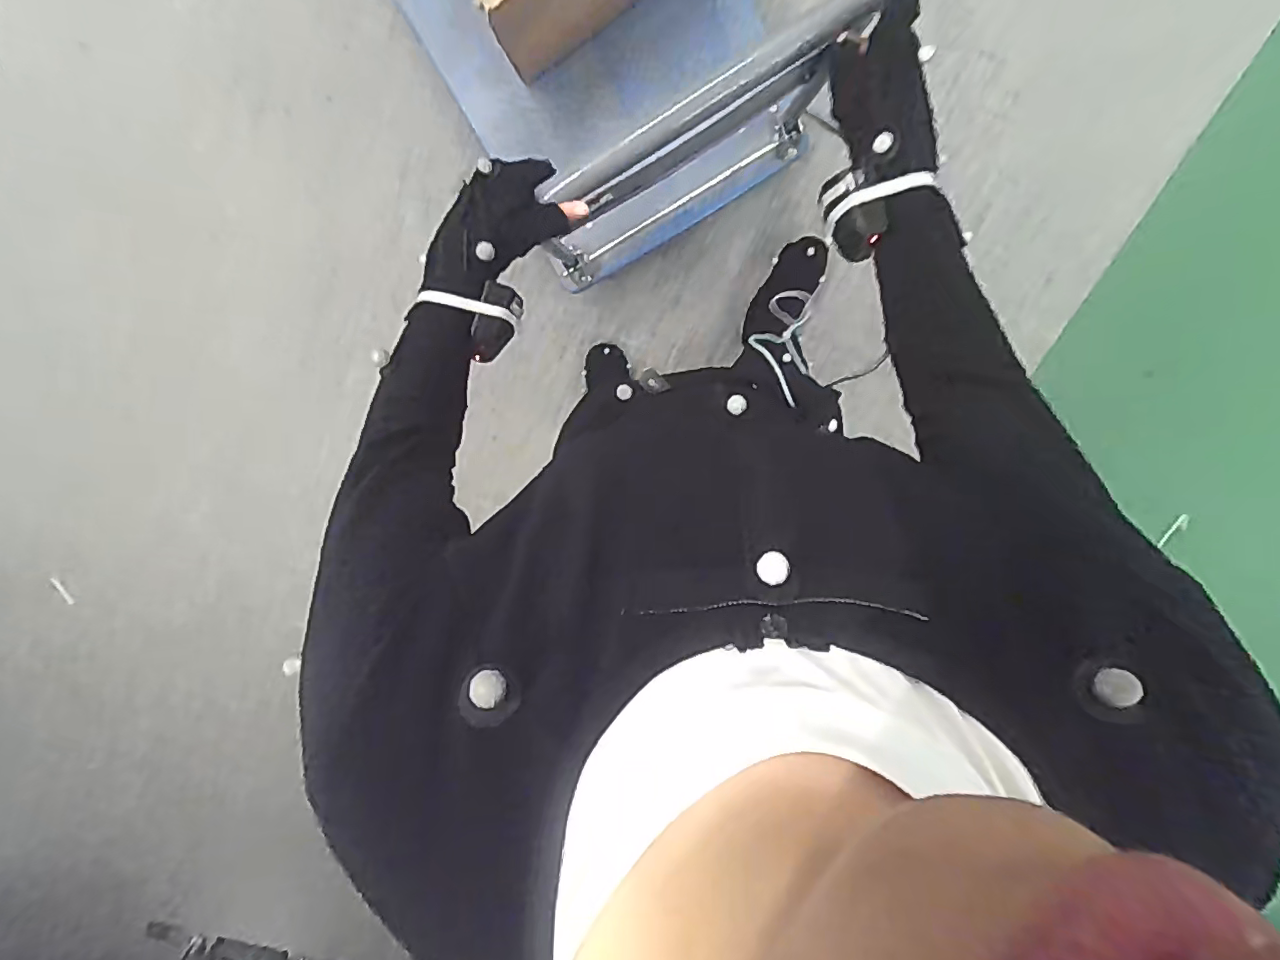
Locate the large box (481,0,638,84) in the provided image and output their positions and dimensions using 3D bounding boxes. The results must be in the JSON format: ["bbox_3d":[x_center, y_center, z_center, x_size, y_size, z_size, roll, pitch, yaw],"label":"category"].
[{"bbox_3d":[-0.119,-0.926,0.825,0.408,0.320,0.320,-31,107,12],"label":"large box"}]
